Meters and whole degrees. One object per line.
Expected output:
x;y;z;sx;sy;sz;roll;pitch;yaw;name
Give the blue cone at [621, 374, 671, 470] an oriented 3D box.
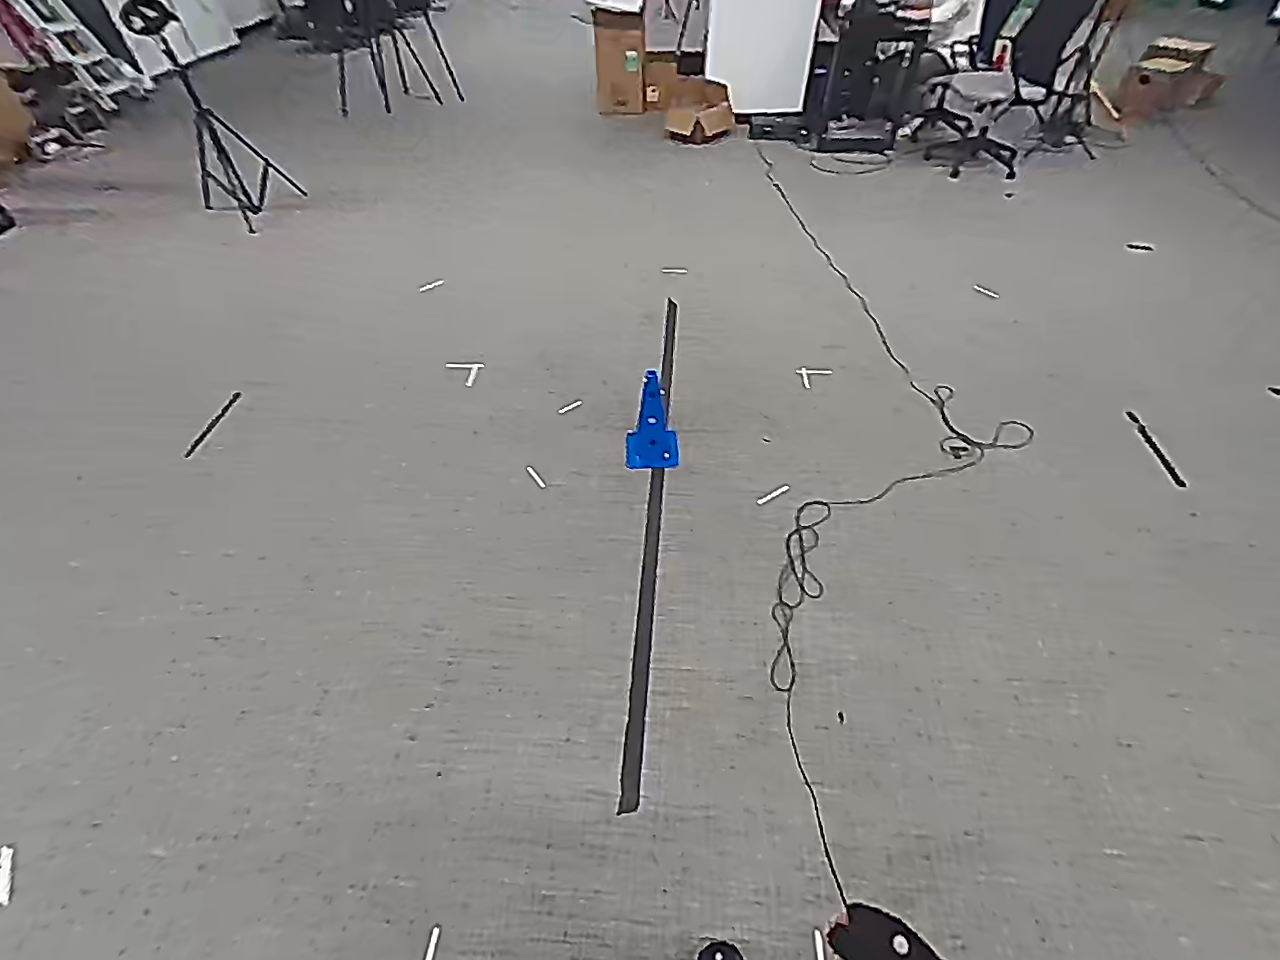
0.017;-0.221;1.952;0.192;0.380;0.193;-1;47;2;blue cone
